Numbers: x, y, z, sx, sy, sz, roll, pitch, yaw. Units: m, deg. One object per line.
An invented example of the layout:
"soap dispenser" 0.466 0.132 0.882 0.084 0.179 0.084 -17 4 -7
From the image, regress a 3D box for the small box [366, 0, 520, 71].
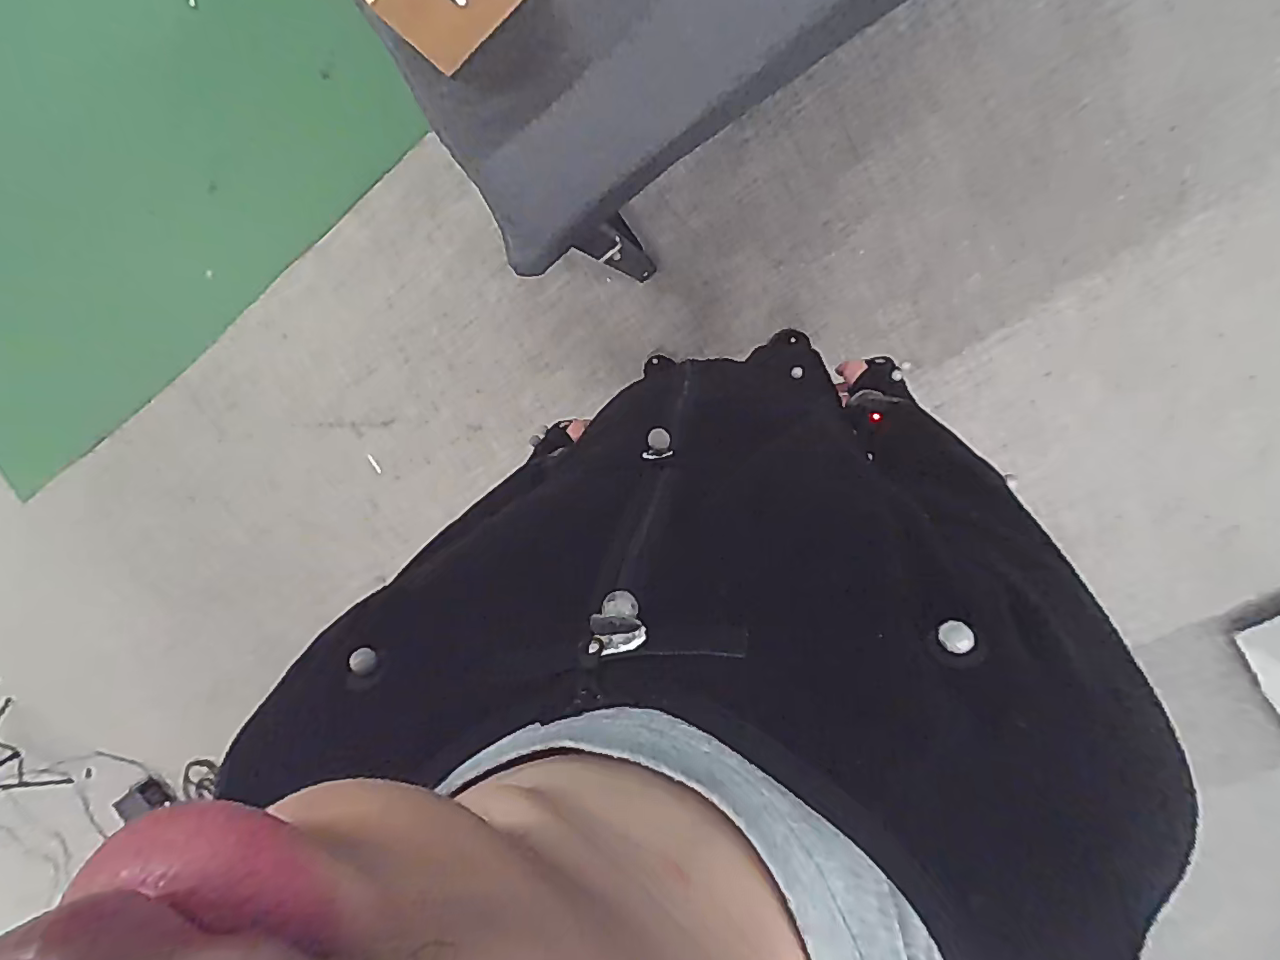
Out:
"small box" -0.249 -0.635 0.621 0.179 0.176 0.168 -33 96 18
